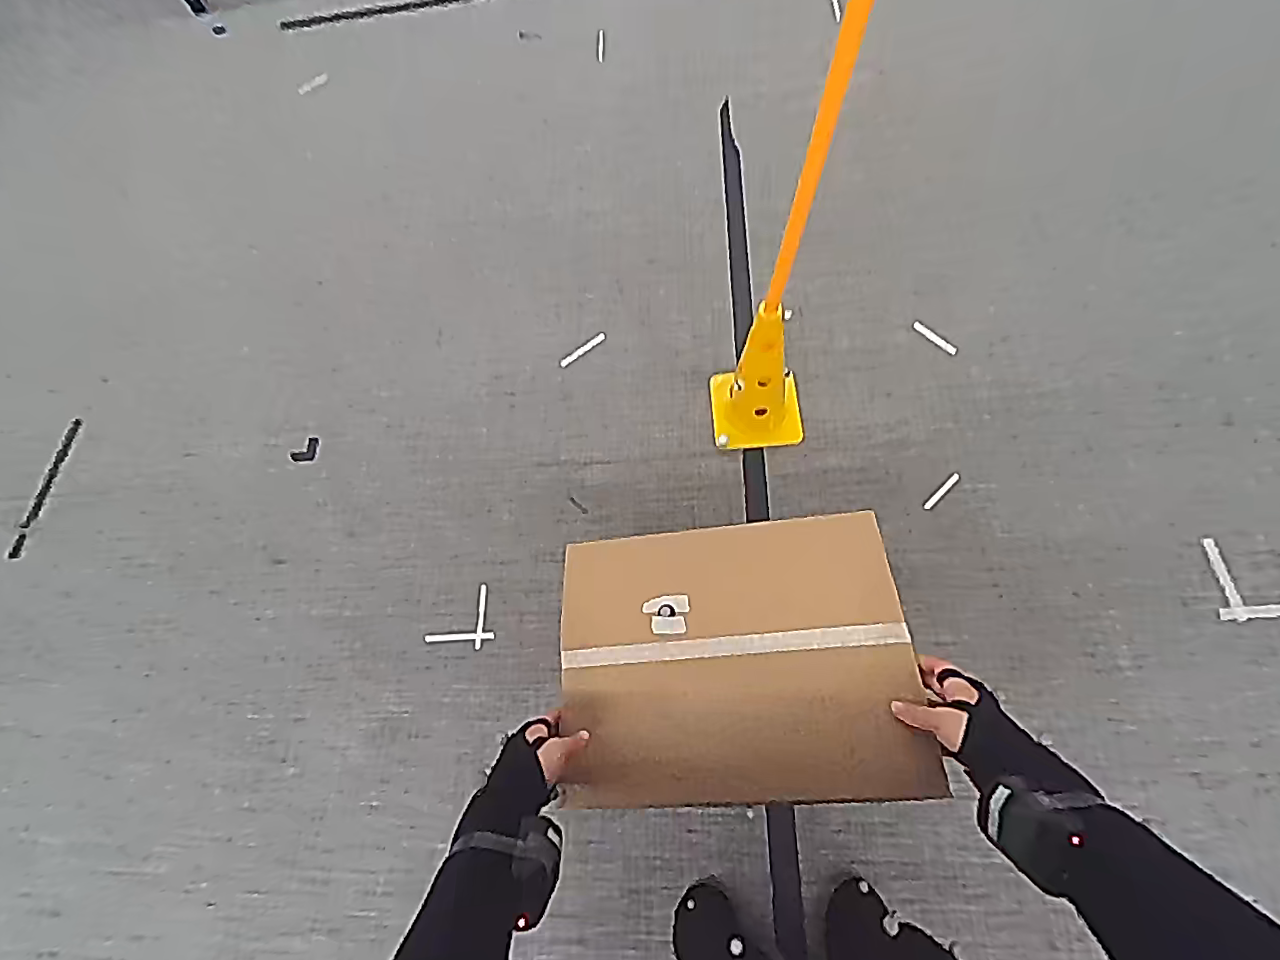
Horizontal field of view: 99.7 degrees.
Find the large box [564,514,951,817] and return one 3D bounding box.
[{"bbox_3d":[0.139,0.276,0.755,0.408,0.320,0.320,-9,58,11],"label":"large box"}]
